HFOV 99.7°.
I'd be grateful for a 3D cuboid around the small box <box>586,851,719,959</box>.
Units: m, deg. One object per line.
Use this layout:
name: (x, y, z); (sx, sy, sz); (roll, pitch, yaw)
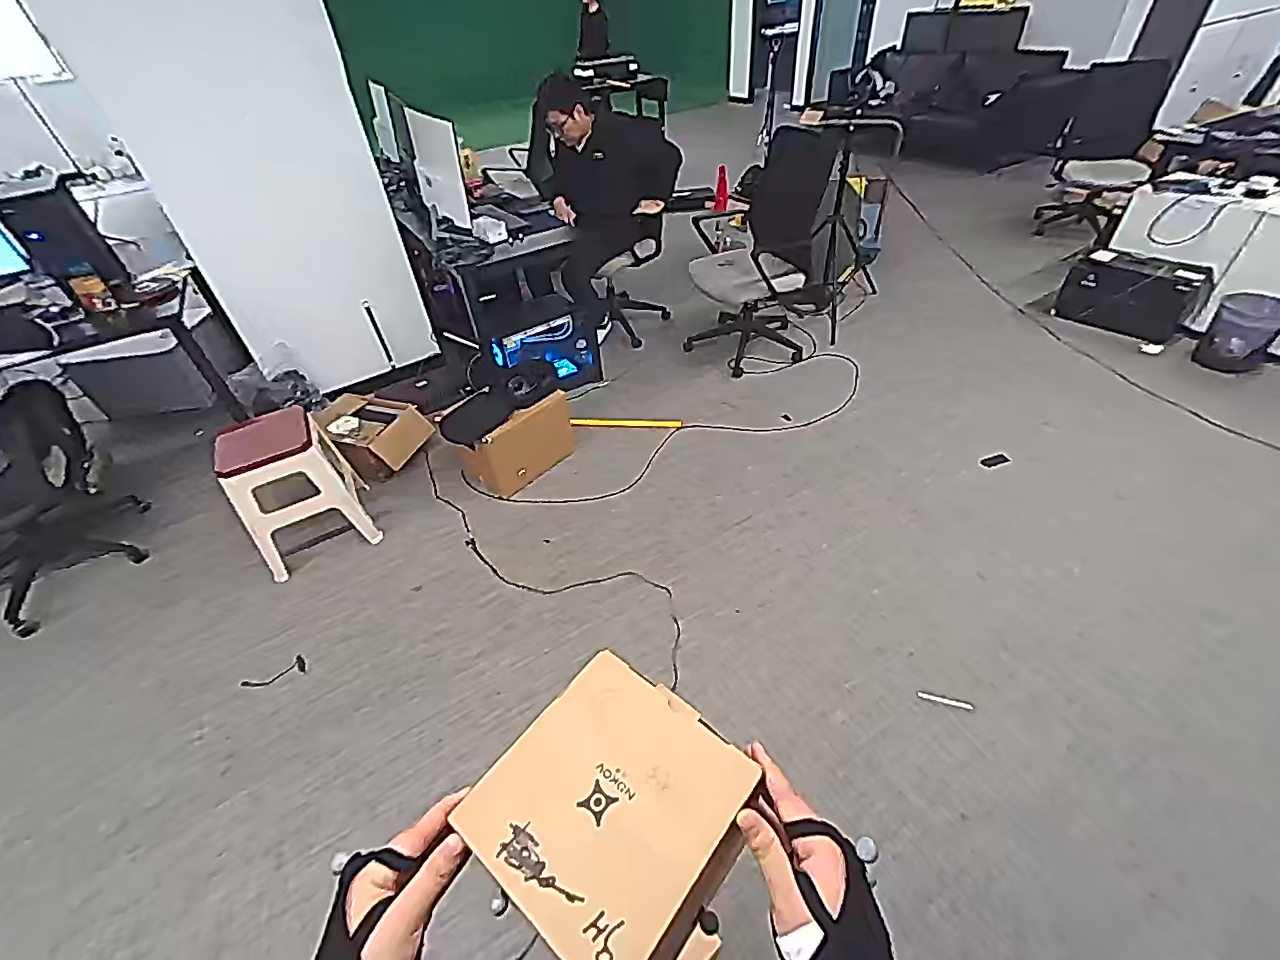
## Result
small box: (0.025, 0.834, 0.984); (0.179, 0.176, 0.168); (-30, 49, -27)
